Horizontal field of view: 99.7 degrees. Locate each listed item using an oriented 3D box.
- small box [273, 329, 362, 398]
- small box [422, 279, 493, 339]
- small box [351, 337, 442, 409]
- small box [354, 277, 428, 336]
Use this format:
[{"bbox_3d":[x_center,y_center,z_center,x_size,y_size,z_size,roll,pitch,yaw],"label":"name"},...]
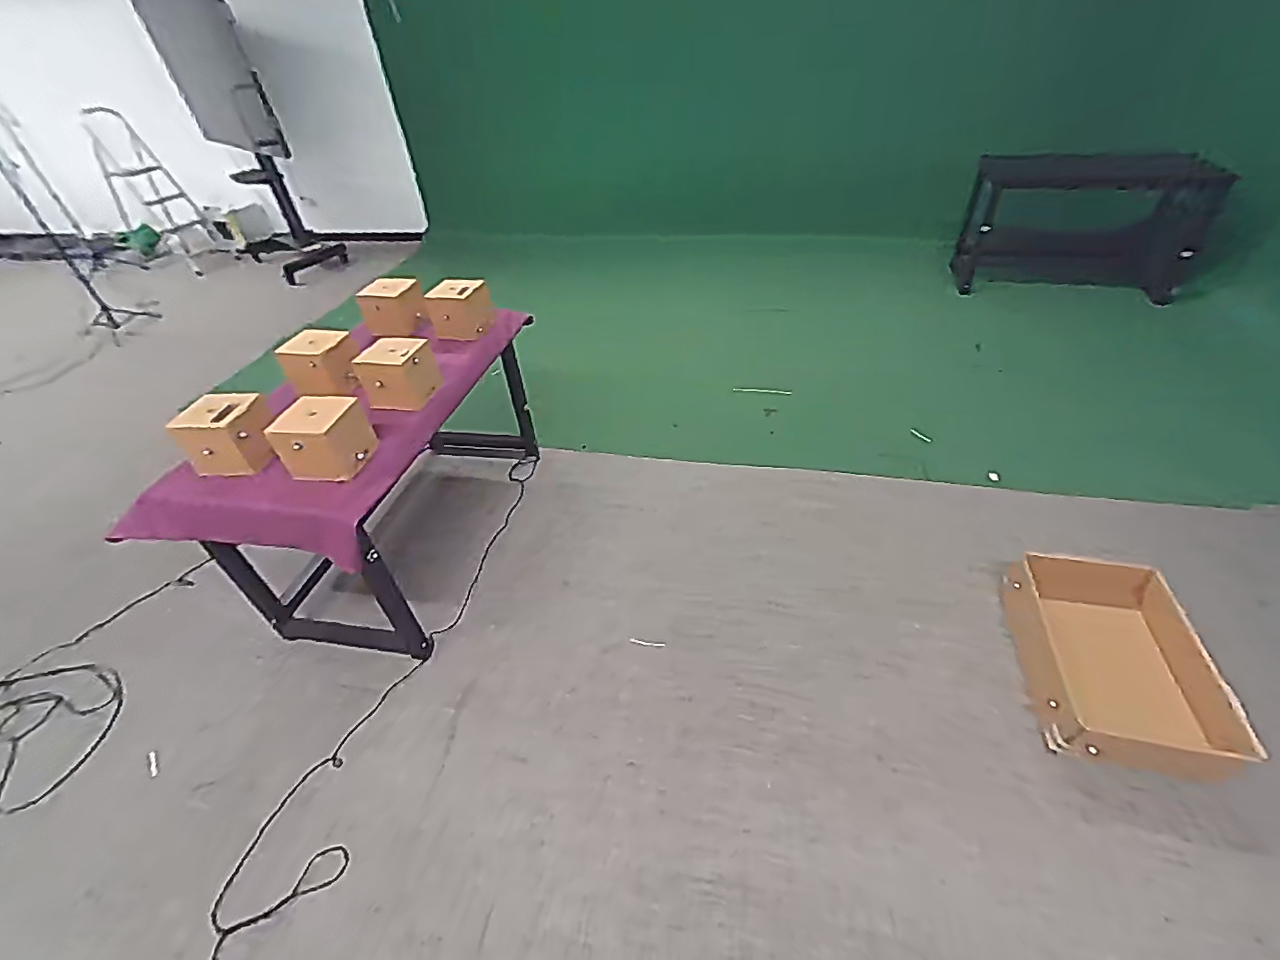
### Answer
[{"bbox_3d":[-1.060,-0.389,1.802,0.179,0.176,0.168,6,42,10],"label":"small box"},{"bbox_3d":[-0.687,-0.650,2.059,0.179,0.176,0.168,7,43,15],"label":"small box"},{"bbox_3d":[-0.764,-0.337,1.713,0.179,0.176,0.168,5,43,13],"label":"small box"},{"bbox_3d":[-0.970,-0.680,2.120,0.179,0.176,0.168,6,44,11],"label":"small box"}]
